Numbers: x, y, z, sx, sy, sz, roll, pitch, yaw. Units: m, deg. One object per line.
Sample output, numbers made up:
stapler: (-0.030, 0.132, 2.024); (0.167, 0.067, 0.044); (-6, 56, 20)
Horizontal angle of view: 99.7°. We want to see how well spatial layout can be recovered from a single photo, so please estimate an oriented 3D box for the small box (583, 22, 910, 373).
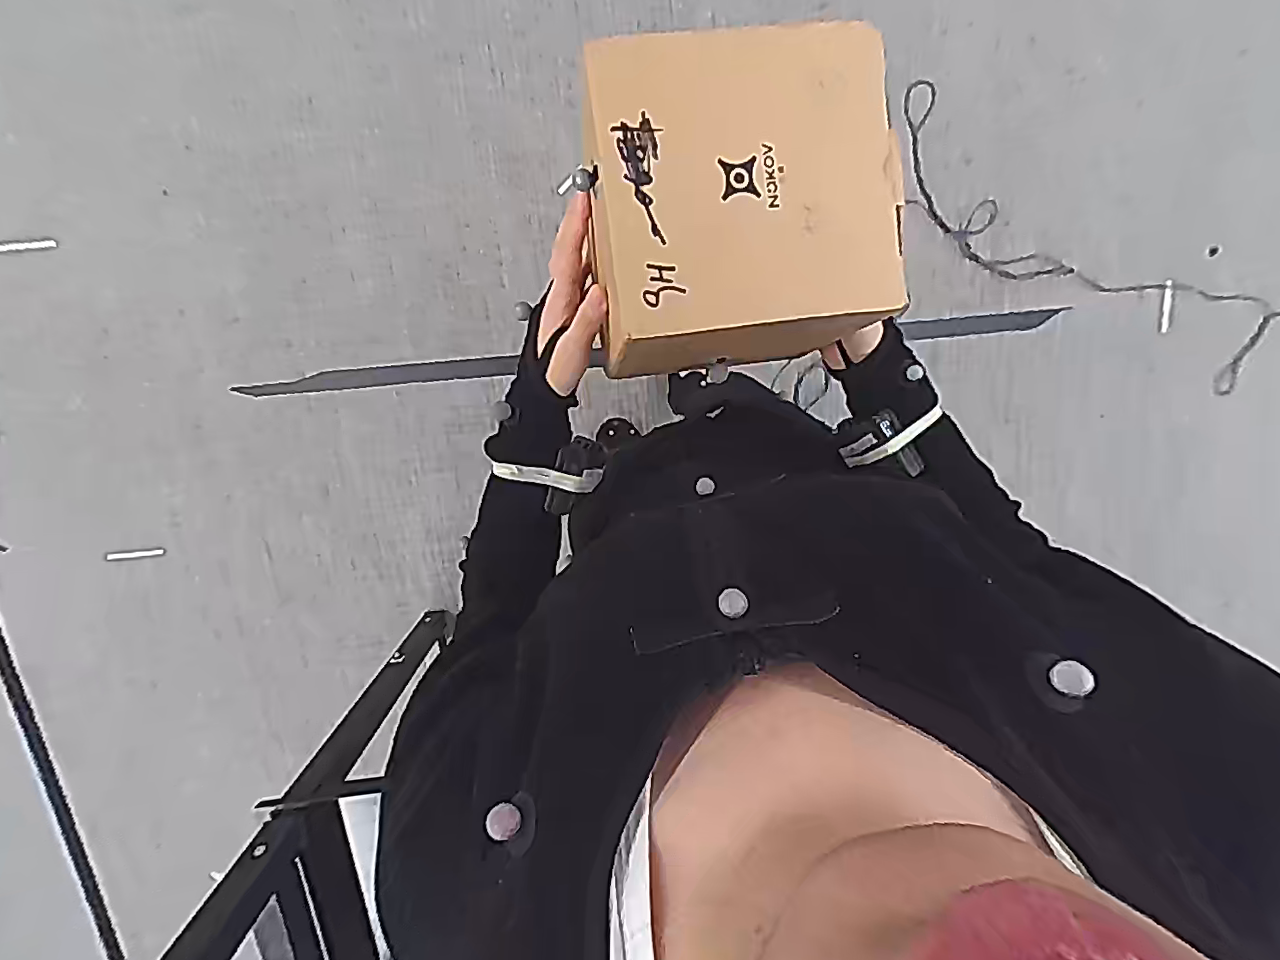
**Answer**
small box: (0.057, -0.178, 0.388); (0.179, 0.176, 0.168); (-8, 93, -7)
